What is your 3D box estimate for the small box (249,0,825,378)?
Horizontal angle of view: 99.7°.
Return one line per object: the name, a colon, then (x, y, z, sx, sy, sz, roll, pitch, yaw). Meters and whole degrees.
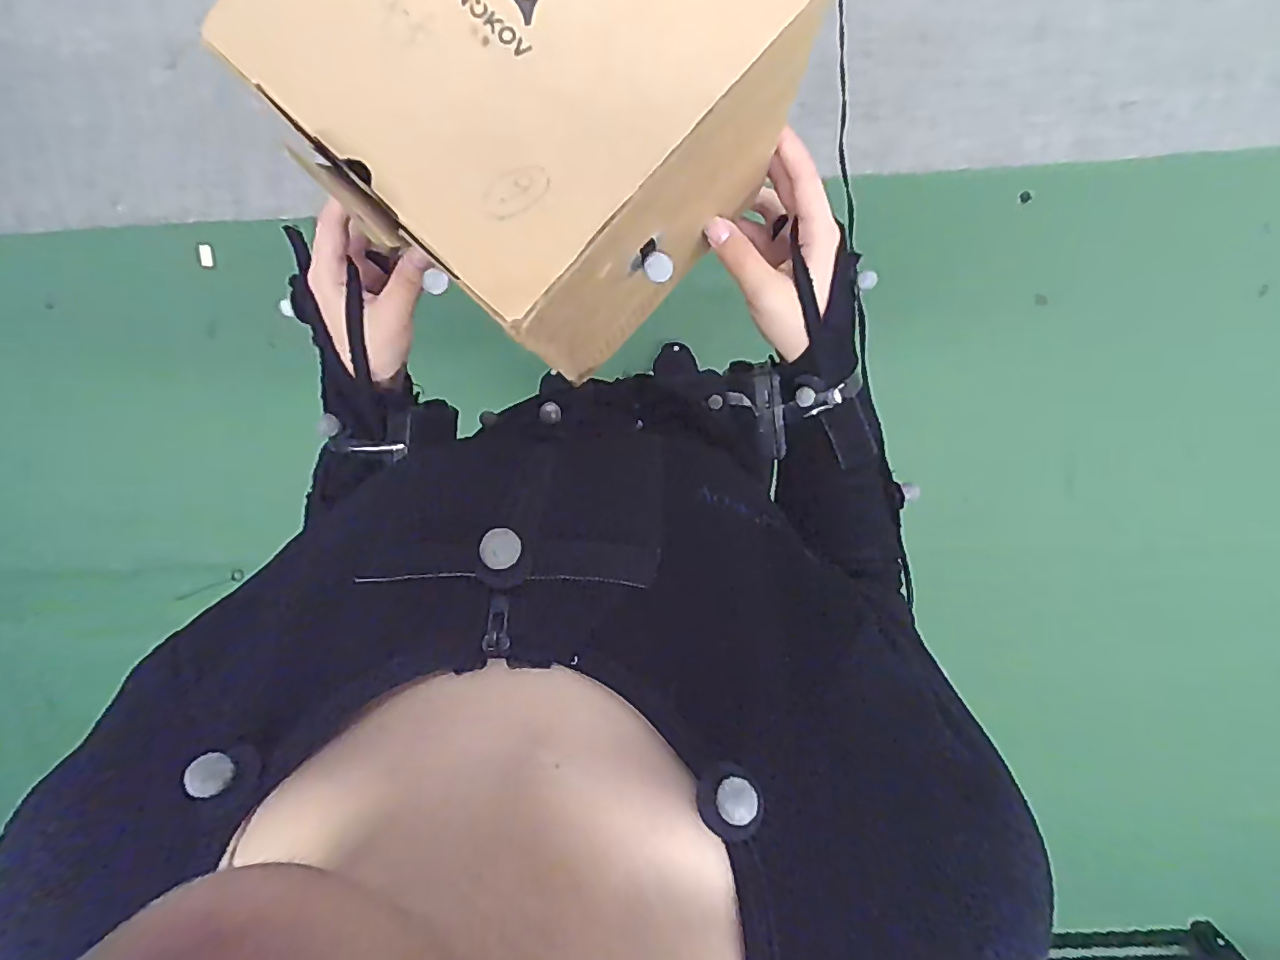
small box: (-0.039, -0.176, 0.291, 0.168, 0.176, 0.179, 43, 94, 0)
